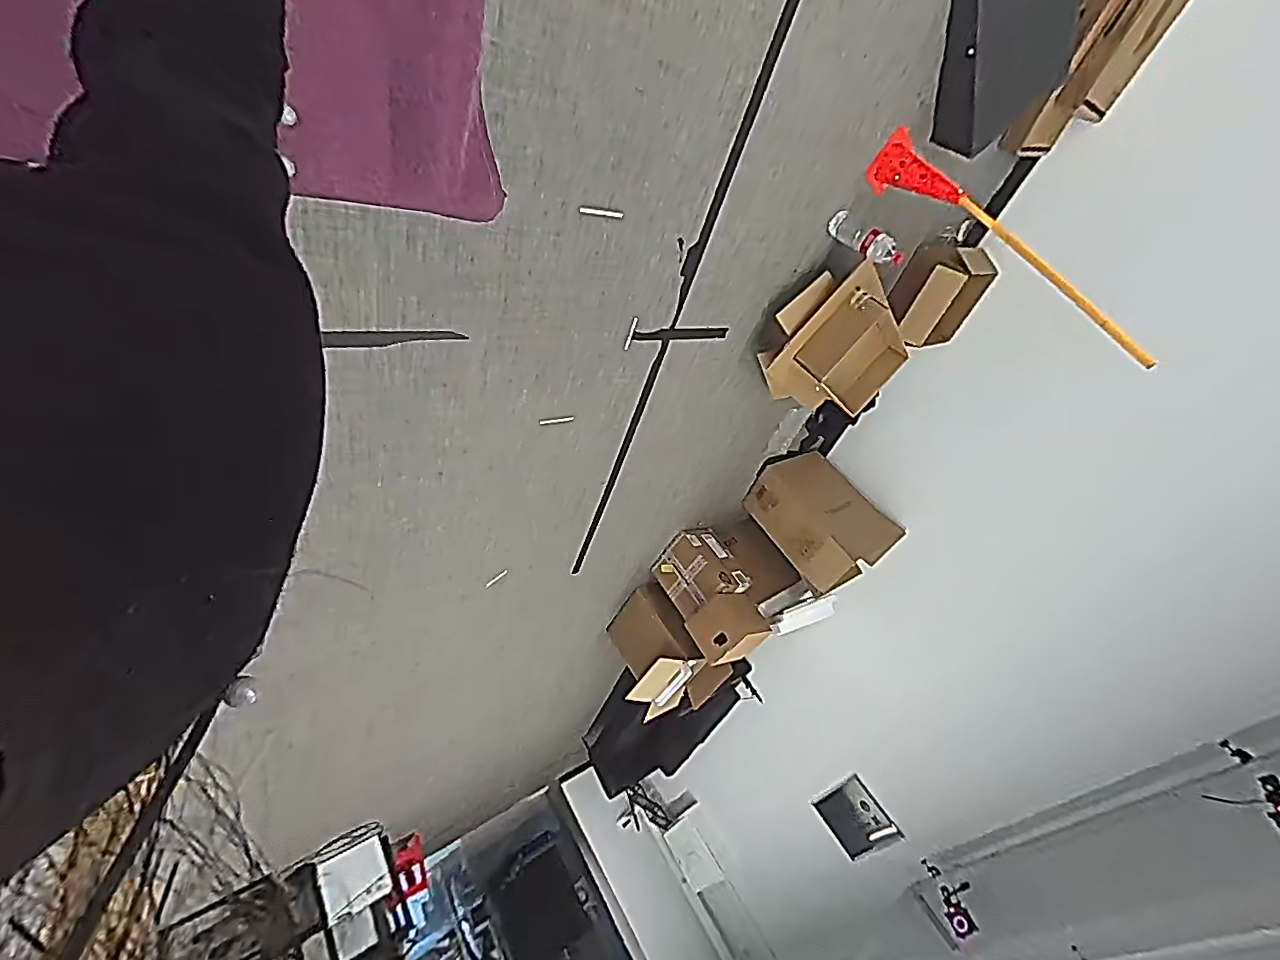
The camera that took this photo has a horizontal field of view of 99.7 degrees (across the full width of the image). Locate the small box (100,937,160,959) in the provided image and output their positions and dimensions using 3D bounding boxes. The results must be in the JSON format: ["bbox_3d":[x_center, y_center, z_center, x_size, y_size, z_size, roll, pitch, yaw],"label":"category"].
[{"bbox_3d":[-1.370,1.345,1.411,0.168,0.176,0.179,-11,143,-38],"label":"small box"}]

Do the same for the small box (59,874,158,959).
[{"bbox_3d":[-1.457,1.230,1.485,0.168,0.176,0.179,-12,142,-39],"label":"small box"}]

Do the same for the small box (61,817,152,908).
[{"bbox_3d":[-1.545,1.120,1.568,0.168,0.176,0.179,-10,139,-41],"label":"small box"}]
